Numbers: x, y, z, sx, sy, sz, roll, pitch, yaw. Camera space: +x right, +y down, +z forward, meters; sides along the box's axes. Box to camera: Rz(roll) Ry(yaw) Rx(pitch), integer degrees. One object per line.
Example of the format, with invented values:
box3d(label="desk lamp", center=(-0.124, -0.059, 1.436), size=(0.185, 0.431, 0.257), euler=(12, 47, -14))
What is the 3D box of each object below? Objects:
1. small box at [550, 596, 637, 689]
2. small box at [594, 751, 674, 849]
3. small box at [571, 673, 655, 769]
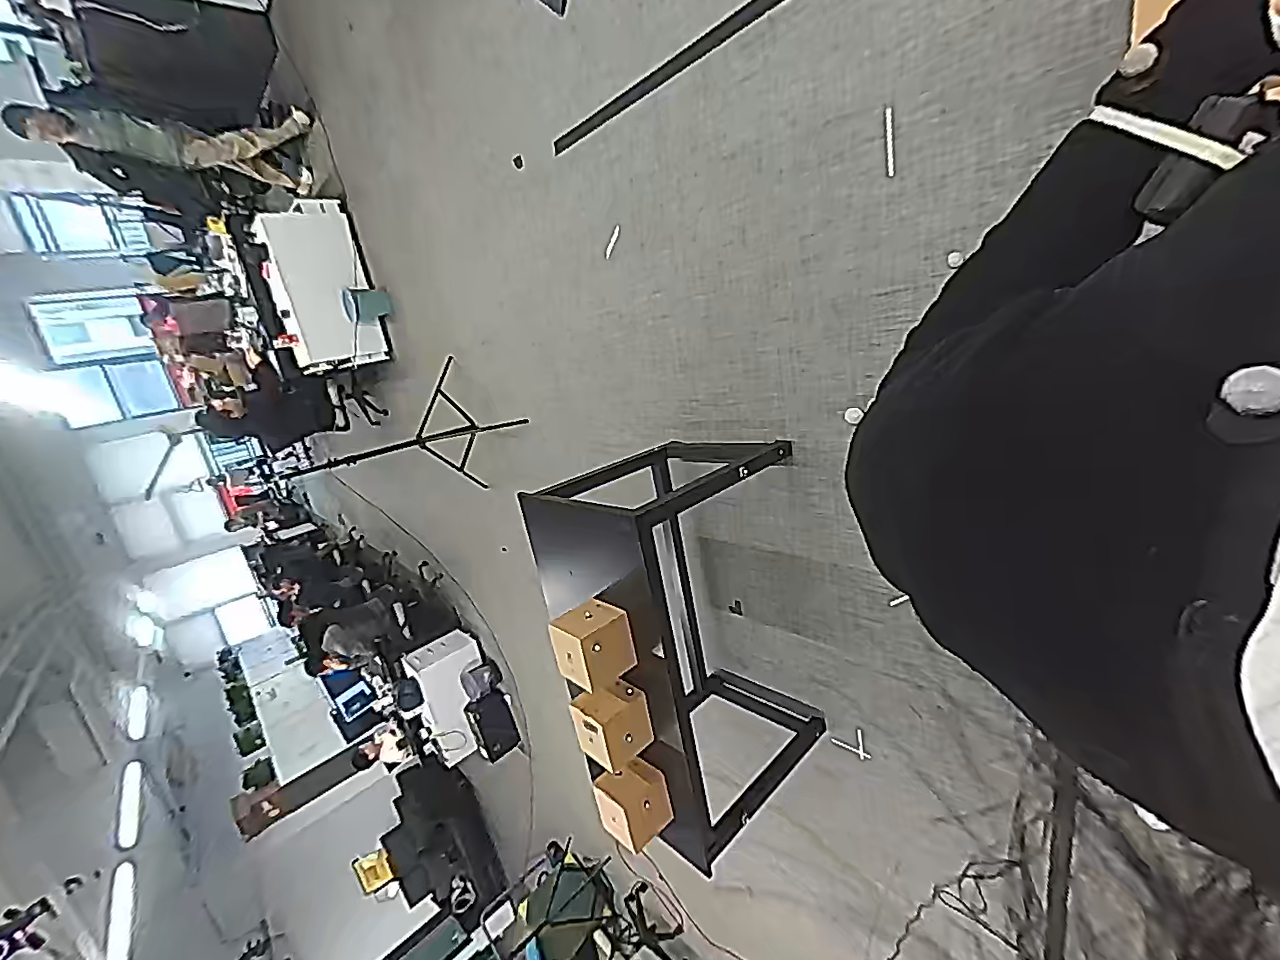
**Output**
box3d(label="small box", center=(-0.131, 0.458, 1.561), size=(0.168, 0.176, 0.179), euler=(7, 114, 49))
box3d(label="small box", center=(-0.015, 0.993, 1.703), size=(0.168, 0.176, 0.179), euler=(4, 112, 51))
box3d(label="small box", center=(-0.079, 0.714, 1.632), size=(0.168, 0.176, 0.179), euler=(8, 115, 49))
